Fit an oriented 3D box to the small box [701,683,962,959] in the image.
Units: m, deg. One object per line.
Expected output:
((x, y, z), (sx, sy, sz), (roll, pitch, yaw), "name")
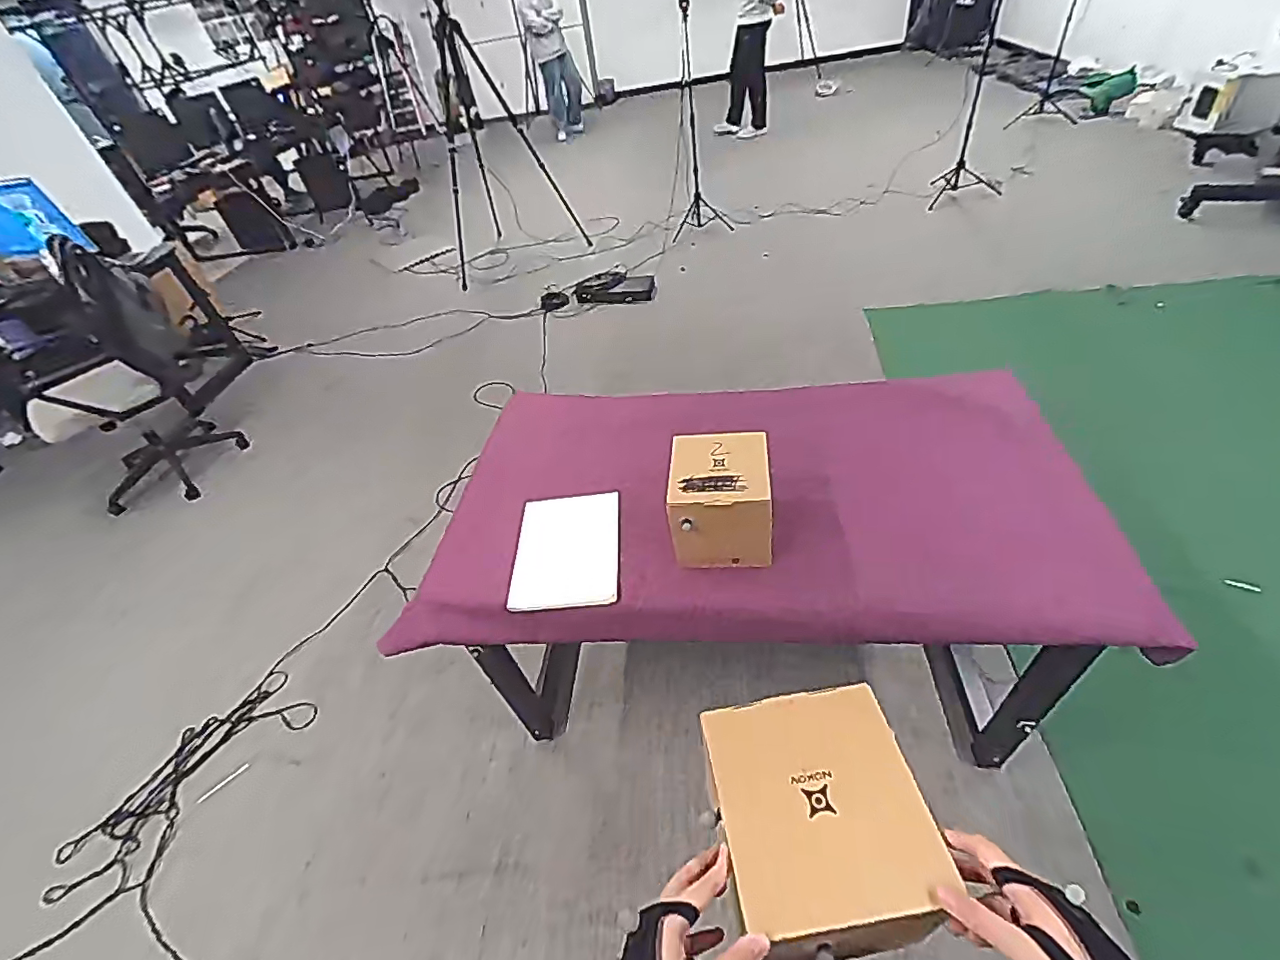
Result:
((0.158, 0.324, 0.506), (0.168, 0.176, 0.179), (-10, 39, -1), "small box")
